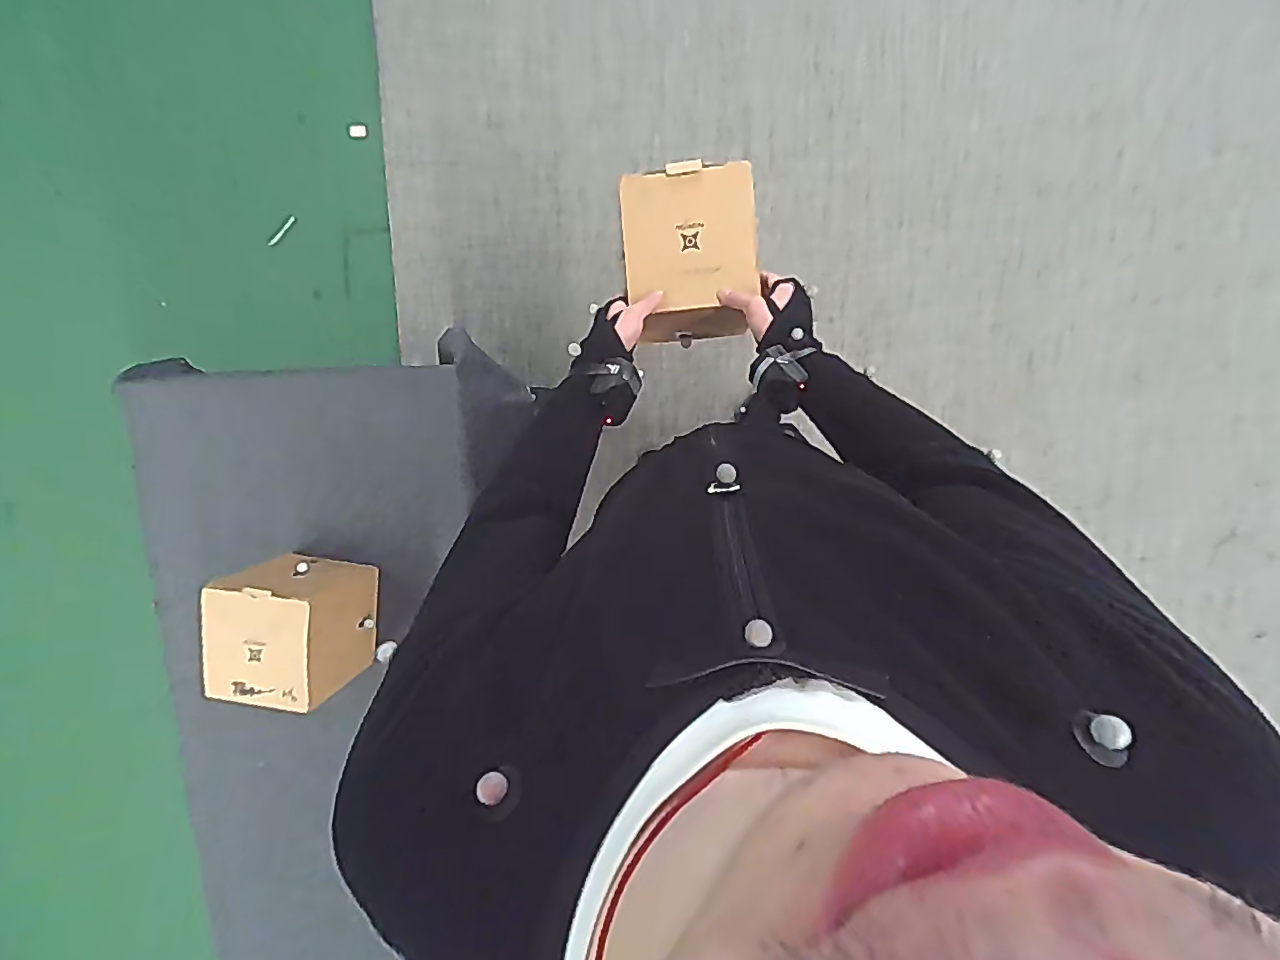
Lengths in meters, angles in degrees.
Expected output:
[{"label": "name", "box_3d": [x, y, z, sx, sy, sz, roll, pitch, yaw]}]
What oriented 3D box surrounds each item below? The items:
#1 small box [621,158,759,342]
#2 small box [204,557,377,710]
[{"label": "small box", "box_3d": [0.067, -0.296, 0.730, 0.168, 0.176, 0.179, -2, 91, 6]}, {"label": "small box", "box_3d": [-0.542, 0.231, 0.859, 0.168, 0.176, 0.179, 7, 98, 5]}]
